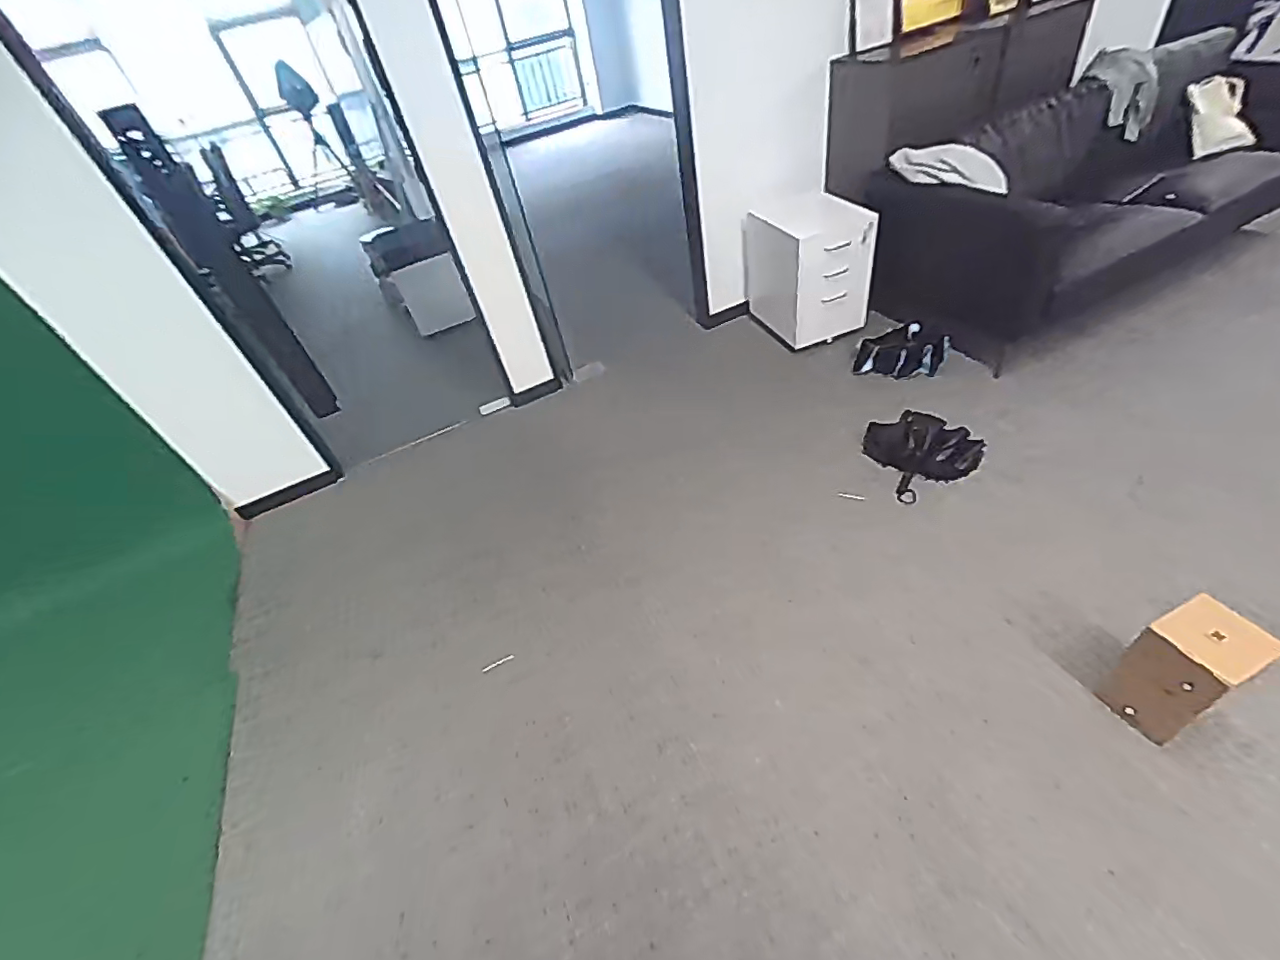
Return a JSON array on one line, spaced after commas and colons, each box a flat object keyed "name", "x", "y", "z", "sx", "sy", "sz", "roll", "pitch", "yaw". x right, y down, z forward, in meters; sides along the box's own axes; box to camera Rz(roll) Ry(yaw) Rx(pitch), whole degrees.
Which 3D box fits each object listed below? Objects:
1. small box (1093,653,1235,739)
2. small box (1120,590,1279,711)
[{"name": "small box", "x": 1.281, "y": 0.501, "z": 1.336, "sx": 0.179, "sy": 0.176, "sz": 0.168, "roll": -26, "pitch": 45, "yaw": -11}, {"name": "small box", "x": 1.249, "y": 0.389, "z": 1.224, "sx": 0.179, "sy": 0.176, "sz": 0.168, "roll": -24, "pitch": 46, "yaw": -12}]
